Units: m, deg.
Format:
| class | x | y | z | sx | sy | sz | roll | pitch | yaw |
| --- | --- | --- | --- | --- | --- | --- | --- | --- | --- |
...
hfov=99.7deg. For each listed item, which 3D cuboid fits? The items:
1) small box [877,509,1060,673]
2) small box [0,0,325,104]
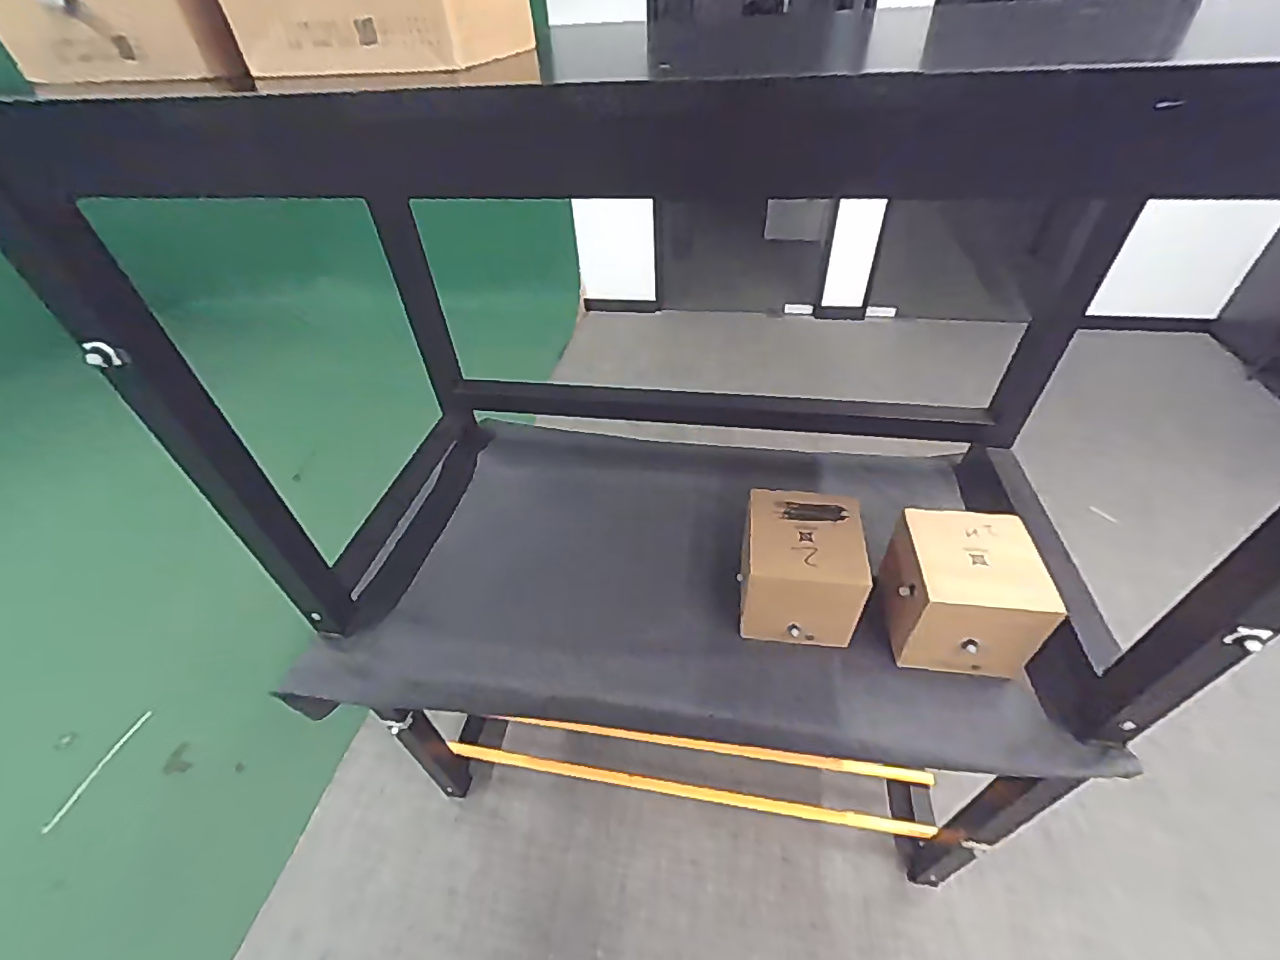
| class | x | y | z | sx | sy | sz | roll | pitch | yaw |
| --- | --- | --- | --- | --- | --- | --- | --- | --- | --- |
| small box | 0.472 | 0.167 | 0.811 | 0.168 | 0.176 | 0.179 | 4 | 42 | 8 |
| small box | -0.390 | -0.415 | 0.430 | 0.168 | 0.176 | 0.179 | 4 | 44 | 8 |
